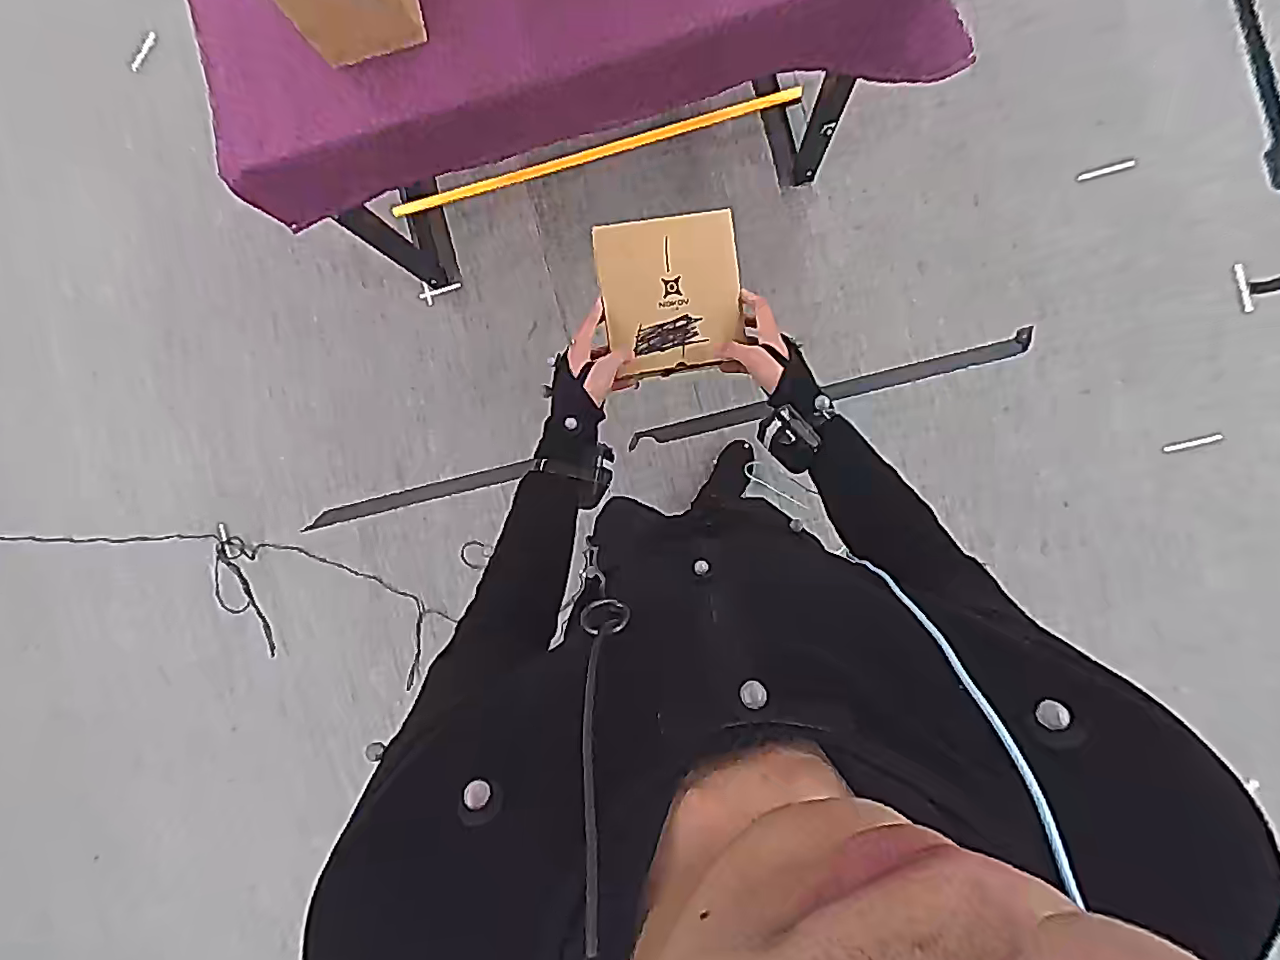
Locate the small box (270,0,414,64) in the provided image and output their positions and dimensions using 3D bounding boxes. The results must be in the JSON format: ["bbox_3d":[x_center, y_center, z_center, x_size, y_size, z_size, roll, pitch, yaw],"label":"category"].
[{"bbox_3d":[-0.474,-0.804,0.841,0.179,0.176,0.168,-12,90,5],"label":"small box"}]

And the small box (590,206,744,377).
[{"bbox_3d":[0.030,-0.232,0.710,0.168,0.176,0.179,-9,98,-3],"label":"small box"}]
